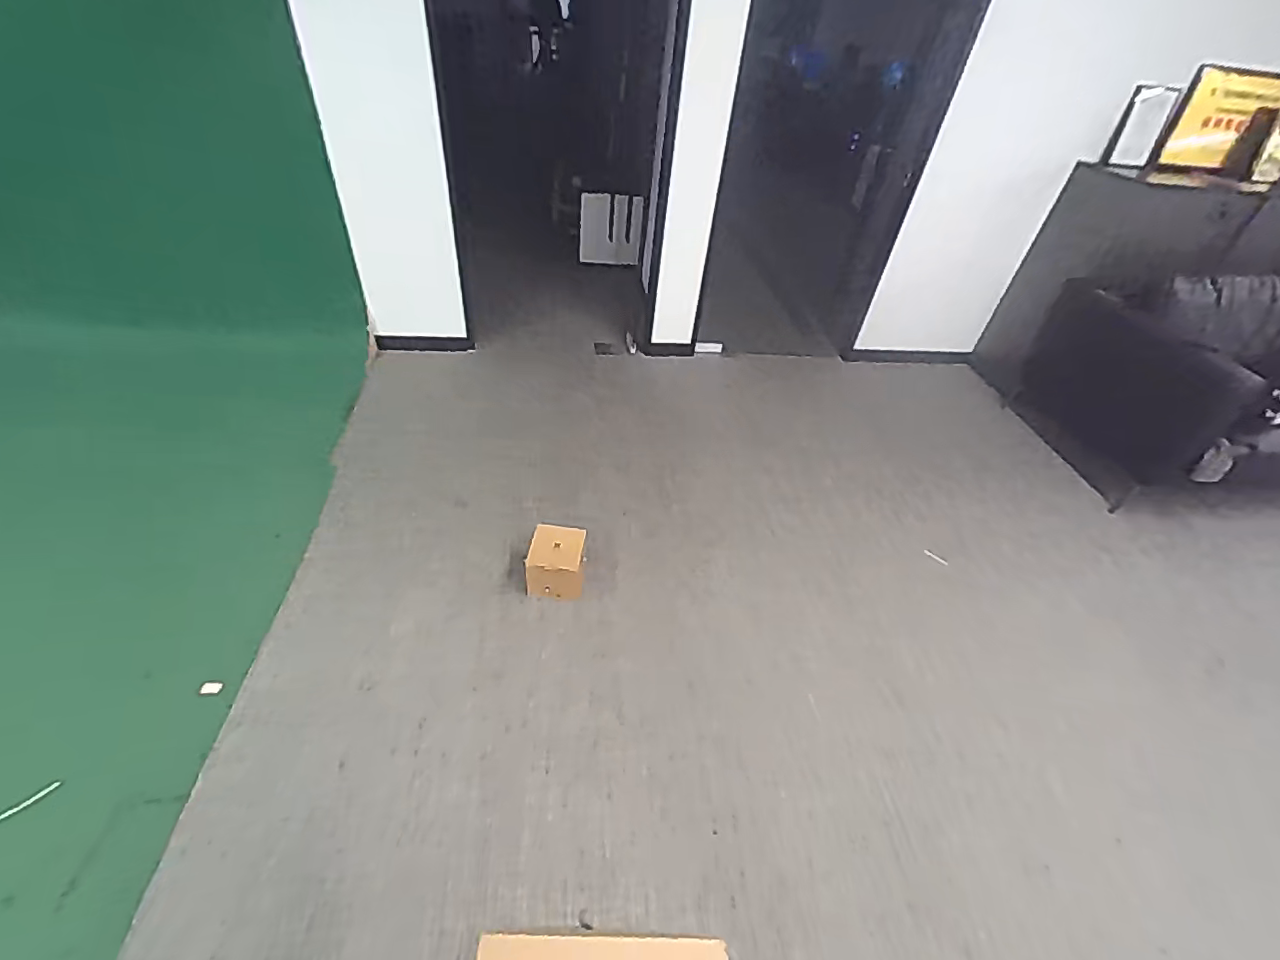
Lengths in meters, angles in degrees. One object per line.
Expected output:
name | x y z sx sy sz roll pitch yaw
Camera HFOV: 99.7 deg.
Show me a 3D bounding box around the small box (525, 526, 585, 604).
small box | -0.280 0.280 1.786 0.168 0.176 0.179 8 42 -1
